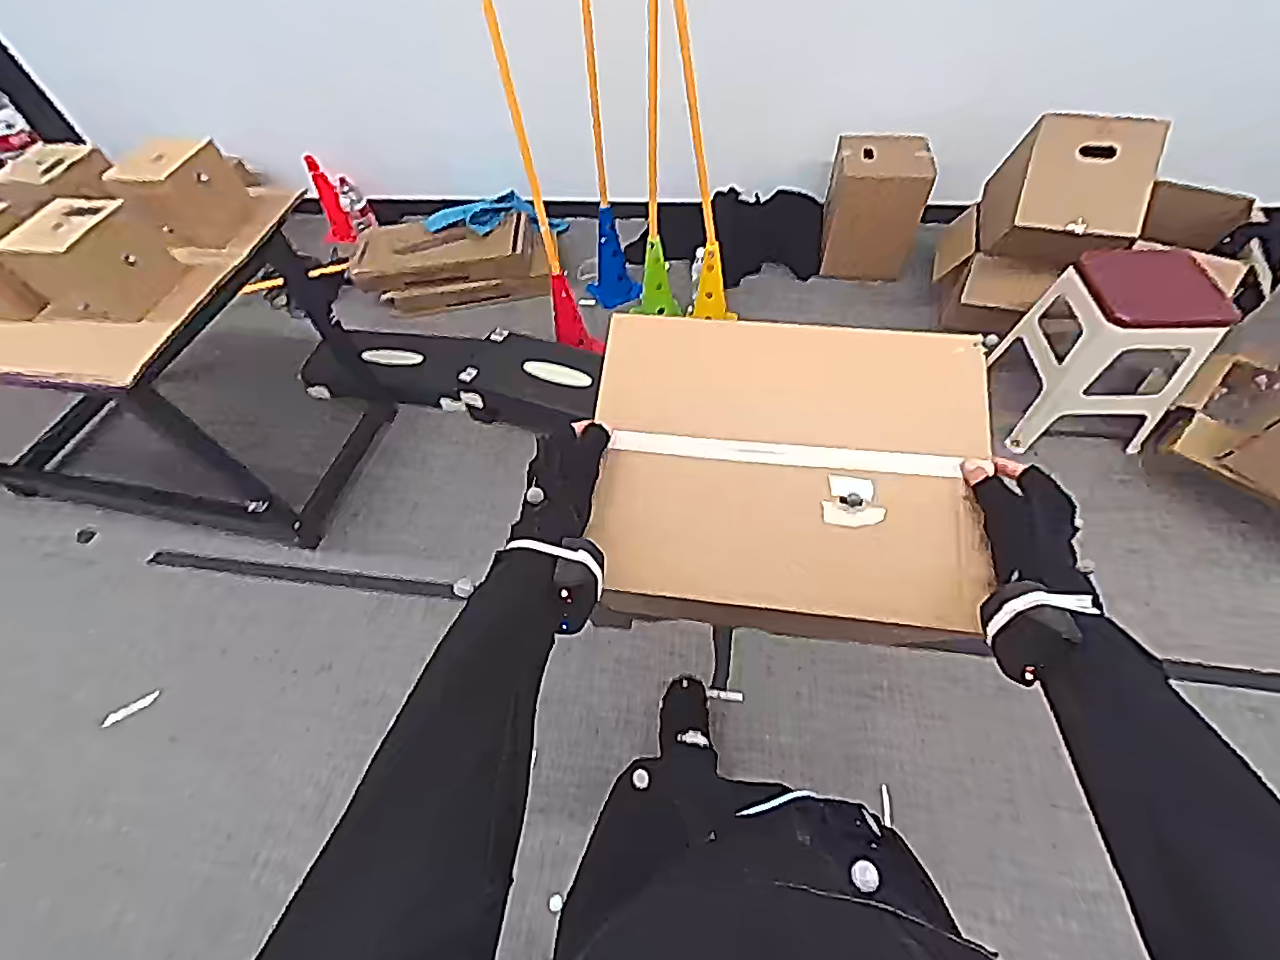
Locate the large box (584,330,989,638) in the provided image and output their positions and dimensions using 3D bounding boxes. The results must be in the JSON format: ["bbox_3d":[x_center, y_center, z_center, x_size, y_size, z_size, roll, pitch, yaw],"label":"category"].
[{"bbox_3d":[0.162,0.026,0.720,0.408,0.320,0.320,5,73,6],"label":"large box"}]
